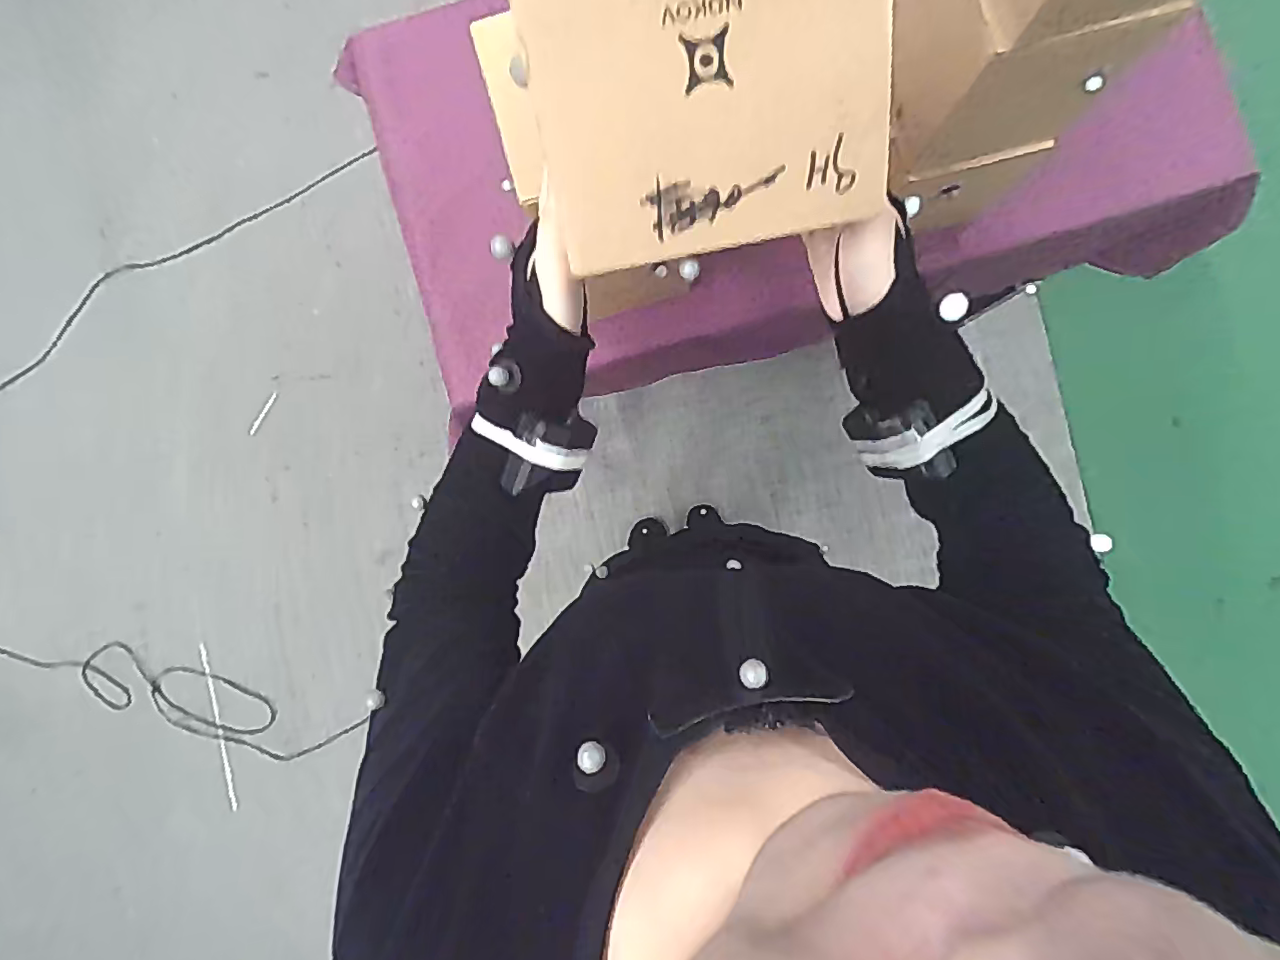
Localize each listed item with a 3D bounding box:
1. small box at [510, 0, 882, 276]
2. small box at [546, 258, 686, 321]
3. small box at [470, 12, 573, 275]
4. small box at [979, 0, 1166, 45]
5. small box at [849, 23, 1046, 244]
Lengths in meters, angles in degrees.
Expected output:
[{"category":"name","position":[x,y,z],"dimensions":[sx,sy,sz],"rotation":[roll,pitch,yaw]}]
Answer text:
[{"category":"small box","position":[0.024,-0.229,0.316],"dimensions":[0.168,0.176,0.179],"rotation":[-9,116,2]},{"category":"small box","position":[-0.041,-0.336,0.724],"dimensions":[0.179,0.176,0.168],"rotation":[-16,87,2]},{"category":"small box","position":[-0.052,-0.346,0.561],"dimensions":[0.168,0.176,0.179],"rotation":[-16,88,2]},{"category":"small box","position":[0.363,-0.468,0.383],"dimensions":[0.179,0.176,0.168],"rotation":[-16,87,2]},{"category":"small box","position":[0.370,-0.438,0.709],"dimensions":[0.179,0.176,0.168],"rotation":[-14,87,1]}]
